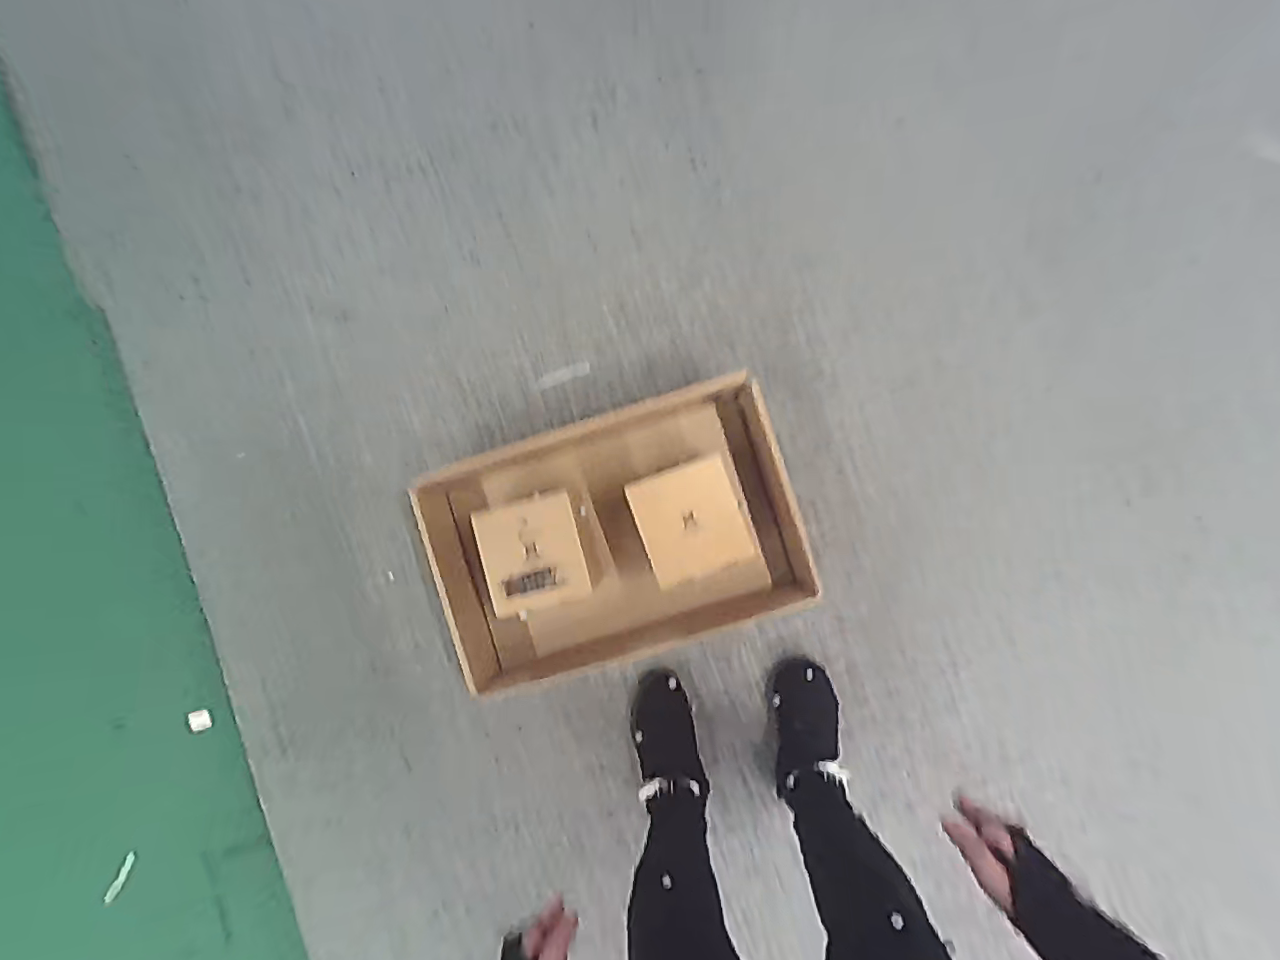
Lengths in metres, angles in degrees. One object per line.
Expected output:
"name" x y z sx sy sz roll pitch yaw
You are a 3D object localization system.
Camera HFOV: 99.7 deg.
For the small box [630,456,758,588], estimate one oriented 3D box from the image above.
"small box" 0.090 0.069 0.955 0.168 0.176 0.179 -21 89 3
